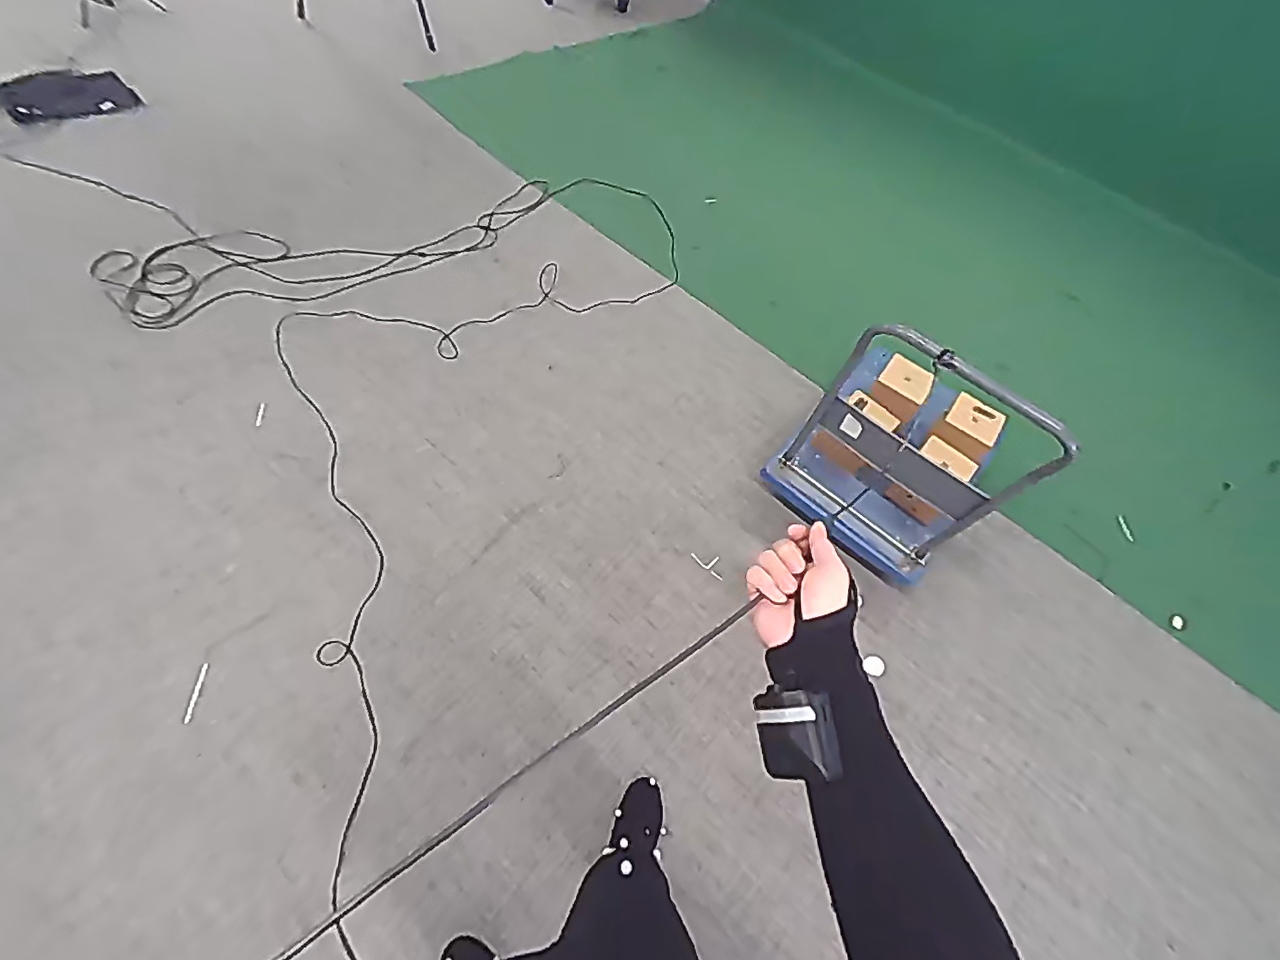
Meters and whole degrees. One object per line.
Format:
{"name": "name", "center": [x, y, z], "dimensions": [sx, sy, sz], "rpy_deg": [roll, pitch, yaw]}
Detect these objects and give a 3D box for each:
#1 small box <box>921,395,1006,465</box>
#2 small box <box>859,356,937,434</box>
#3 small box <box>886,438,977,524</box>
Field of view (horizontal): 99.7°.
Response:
{"name": "small box", "center": [1.105, -0.152, 1.860], "dimensions": [0.168, 0.176, 0.179], "rpy_deg": [36, 61, 14]}
{"name": "small box", "center": [0.907, -0.297, 1.919], "dimensions": [0.168, 0.176, 0.179], "rpy_deg": [37, 60, 13]}
{"name": "small box", "center": [0.926, 0.005, 1.733], "dimensions": [0.168, 0.176, 0.179], "rpy_deg": [41, 62, 16]}
